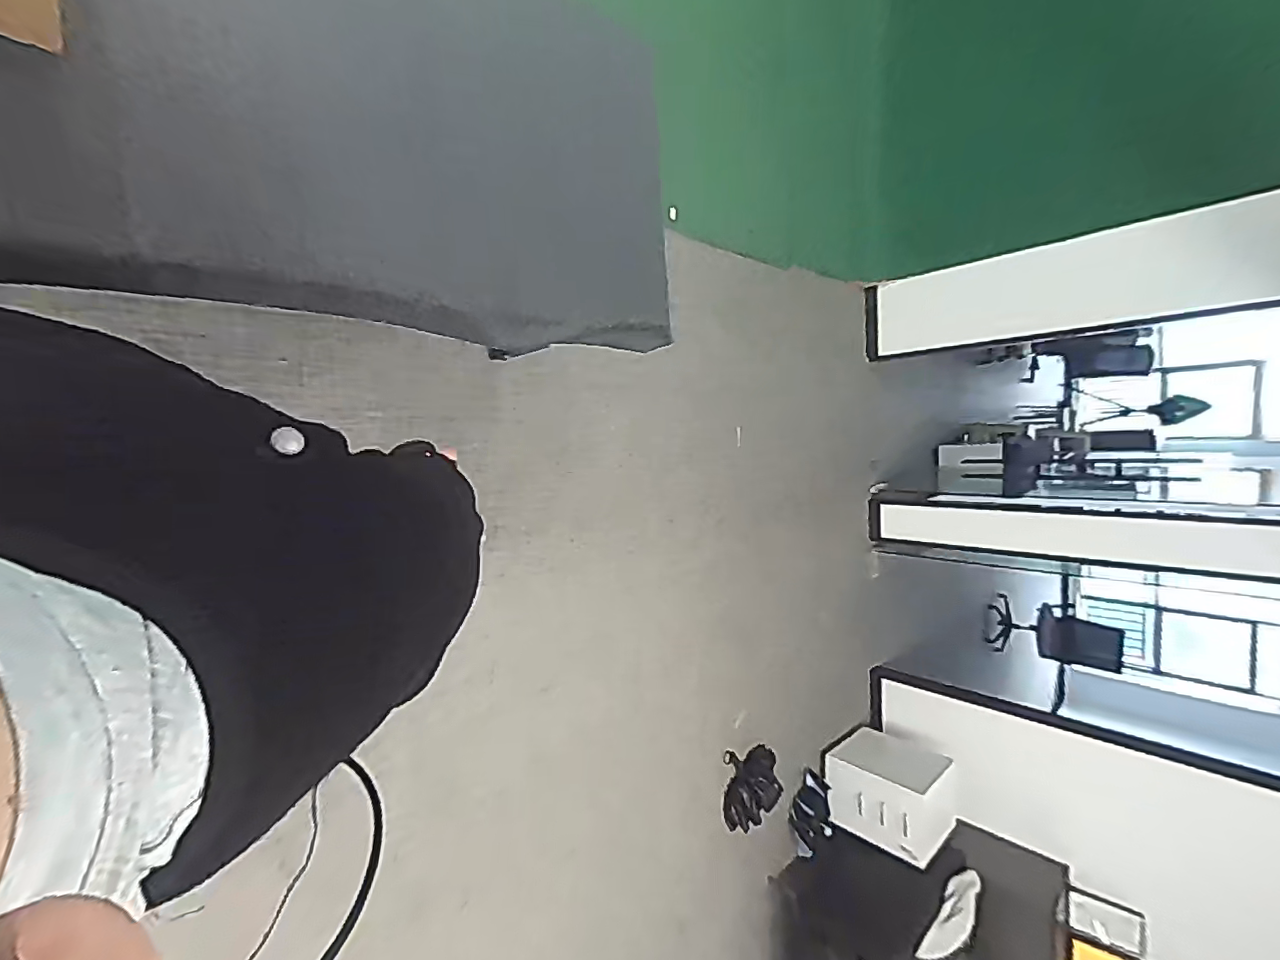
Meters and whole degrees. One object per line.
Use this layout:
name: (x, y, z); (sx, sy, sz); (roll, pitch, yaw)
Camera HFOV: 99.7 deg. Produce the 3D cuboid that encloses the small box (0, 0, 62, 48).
small box: (-0.636, -0.537, 0.471); (0.168, 0.176, 0.179); (-6, 96, -44)
